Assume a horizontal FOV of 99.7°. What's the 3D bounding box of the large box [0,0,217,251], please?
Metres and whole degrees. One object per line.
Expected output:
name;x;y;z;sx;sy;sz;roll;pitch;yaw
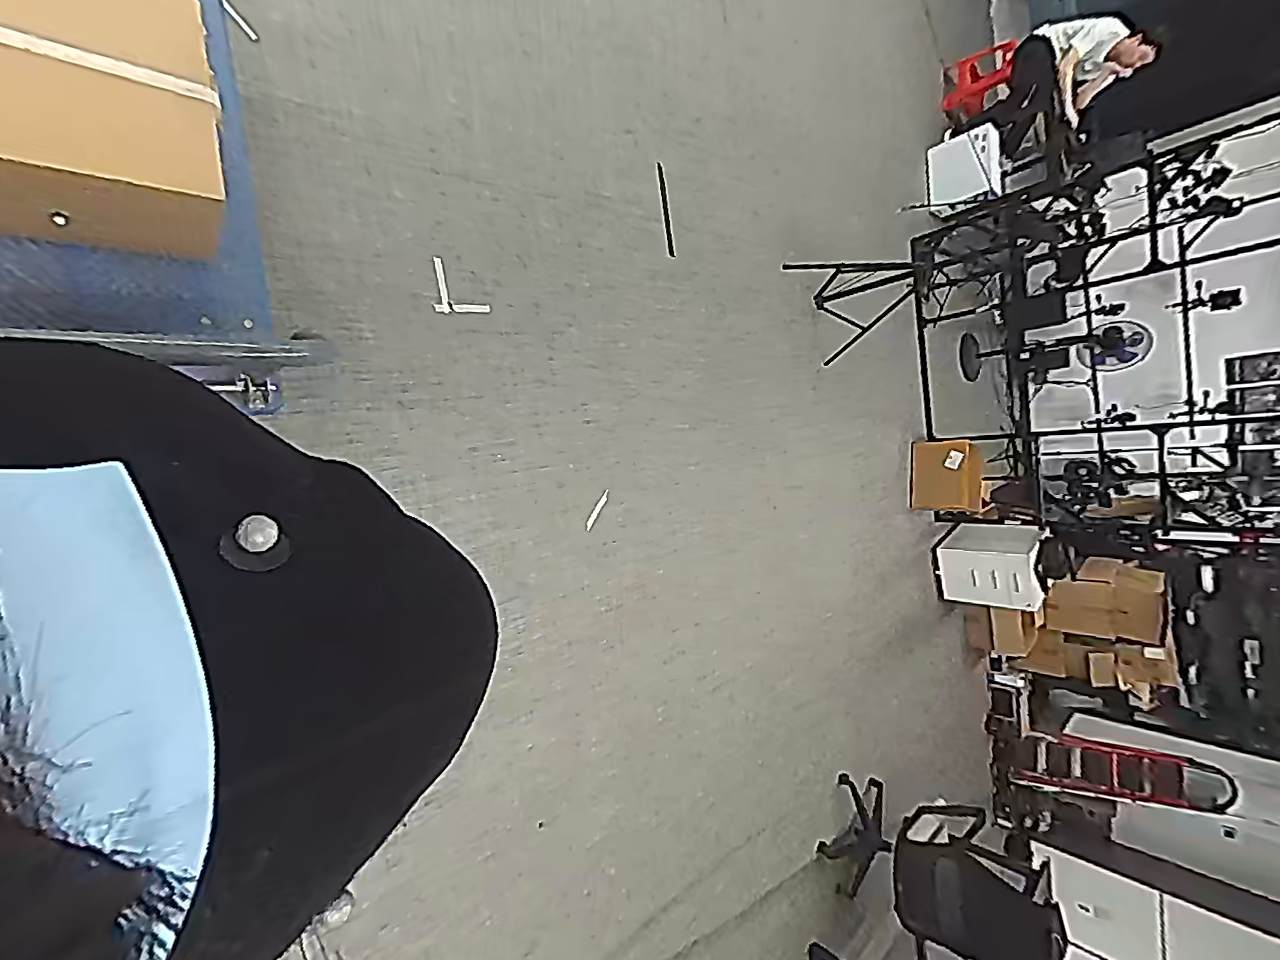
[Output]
large box;-0.929;-0.579;0.830;0.408;0.320;0.320;-8;93;-40
